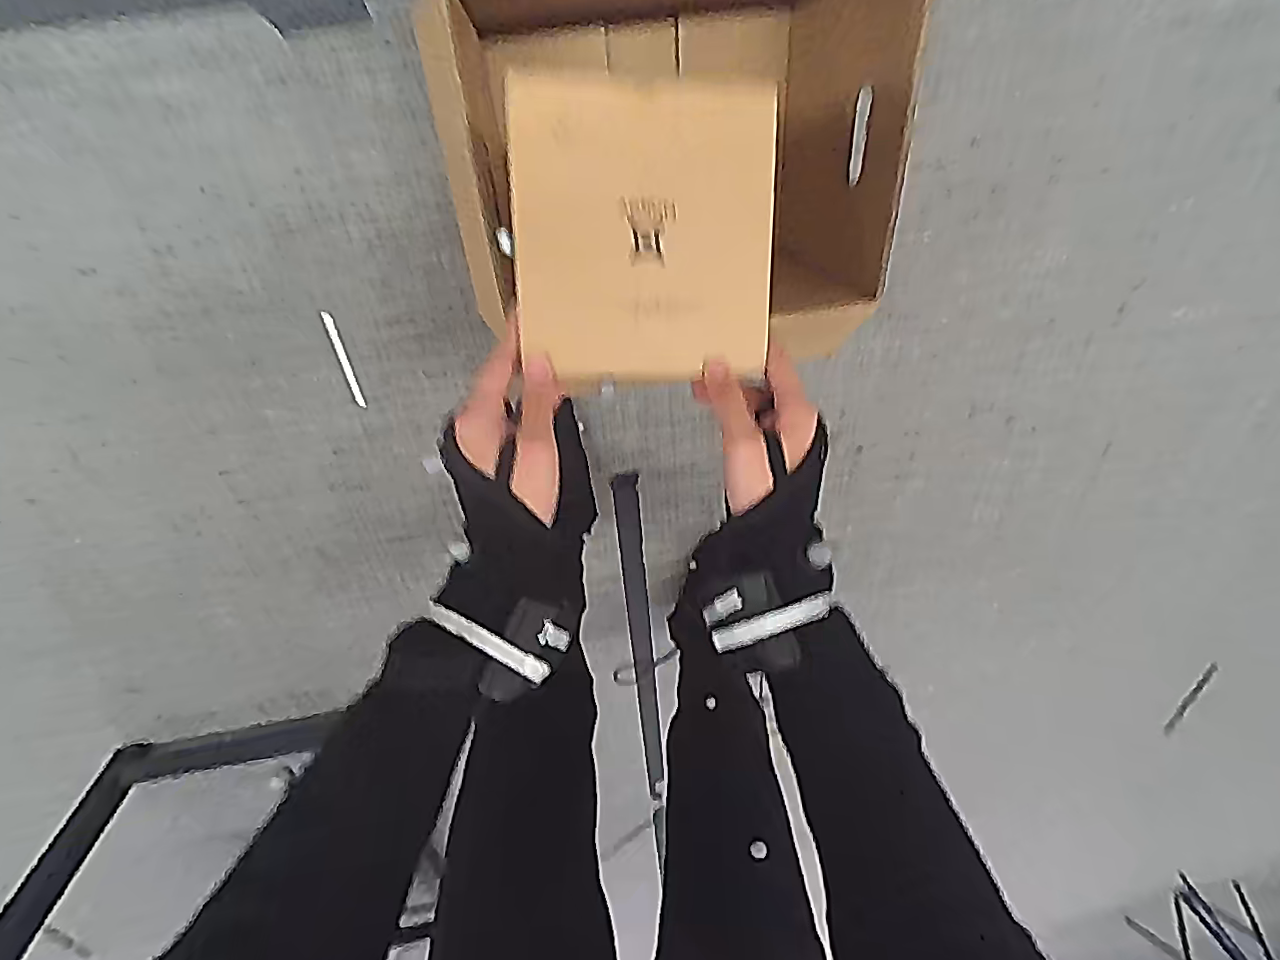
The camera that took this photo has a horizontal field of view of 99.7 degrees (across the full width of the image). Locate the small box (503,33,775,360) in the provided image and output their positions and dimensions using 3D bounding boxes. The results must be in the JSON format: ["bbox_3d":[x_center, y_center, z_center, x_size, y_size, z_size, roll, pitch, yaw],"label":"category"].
[{"bbox_3d":[-0.009,-0.183,0.408,0.168,0.176,0.179,-2,101,-7],"label":"small box"}]
